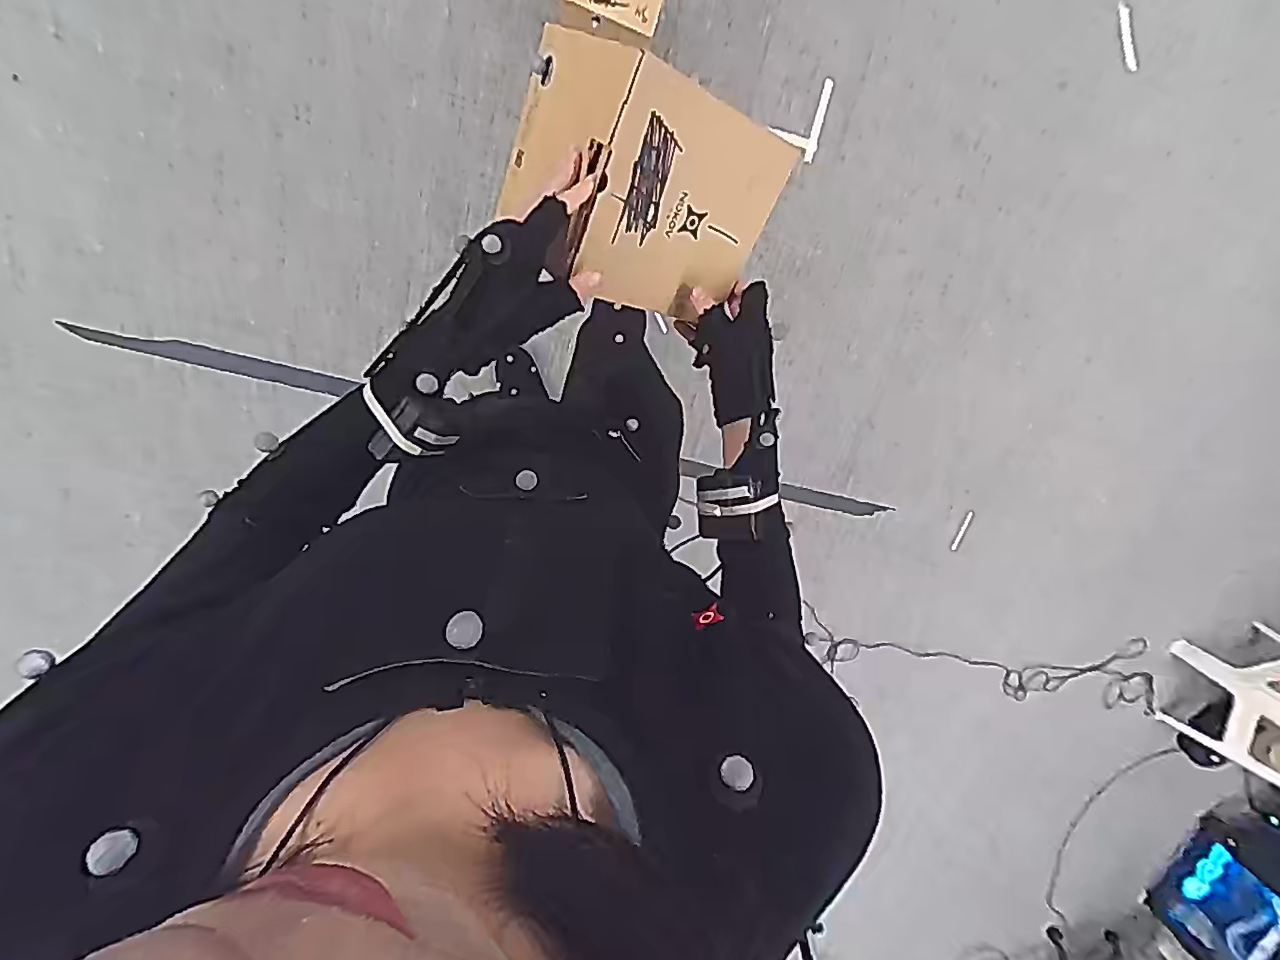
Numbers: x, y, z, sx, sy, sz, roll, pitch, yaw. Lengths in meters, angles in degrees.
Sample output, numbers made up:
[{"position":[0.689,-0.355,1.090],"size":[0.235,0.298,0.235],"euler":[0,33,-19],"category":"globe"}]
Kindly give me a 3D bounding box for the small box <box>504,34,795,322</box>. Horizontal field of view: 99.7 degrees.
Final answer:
[{"position":[-0.004,-0.271,0.496],"size":[0.179,0.176,0.168],"euler":[1,128,-39],"category":"small box"}]

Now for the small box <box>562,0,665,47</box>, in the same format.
[{"position":[-0.042,-0.878,0.975],"size":[0.168,0.176,0.179],"euler":[15,105,-13],"category":"small box"}]
